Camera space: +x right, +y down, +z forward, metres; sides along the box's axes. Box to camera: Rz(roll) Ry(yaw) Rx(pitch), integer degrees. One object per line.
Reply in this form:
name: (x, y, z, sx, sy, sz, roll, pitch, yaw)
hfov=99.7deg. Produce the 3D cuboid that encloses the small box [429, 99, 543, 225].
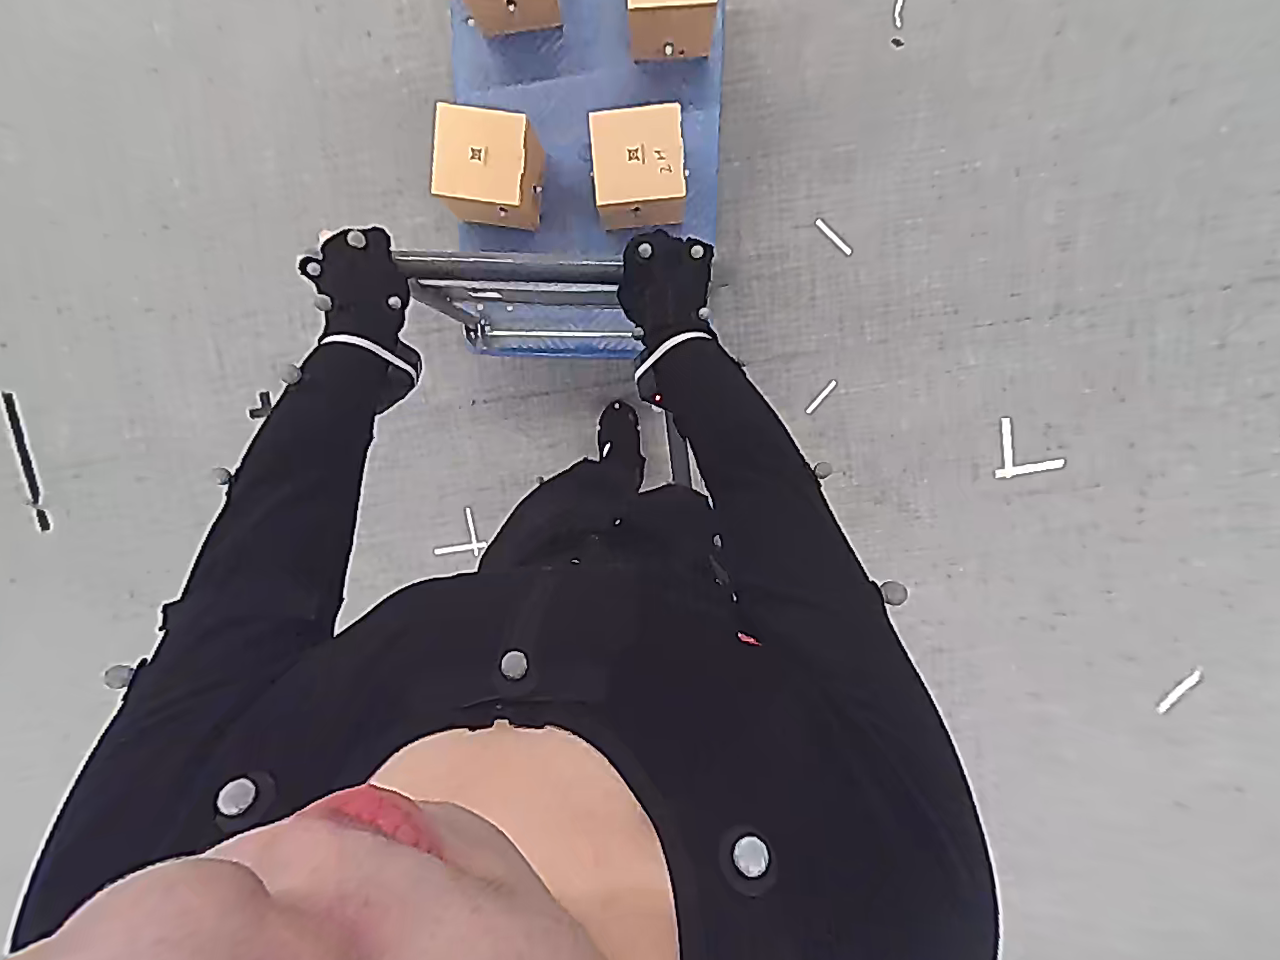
small box: (-0.308, -0.638, 1.104, 0.179, 0.176, 0.168, 7, 100, -1)

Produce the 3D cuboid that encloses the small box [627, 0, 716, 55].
small box: (0.057, -0.959, 1.031, 0.168, 0.176, 0.179, -1, 101, 3)

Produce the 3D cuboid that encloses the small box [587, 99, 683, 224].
small box: (-0.004, -0.631, 1.093, 0.179, 0.176, 0.168, -4, 100, 3)
